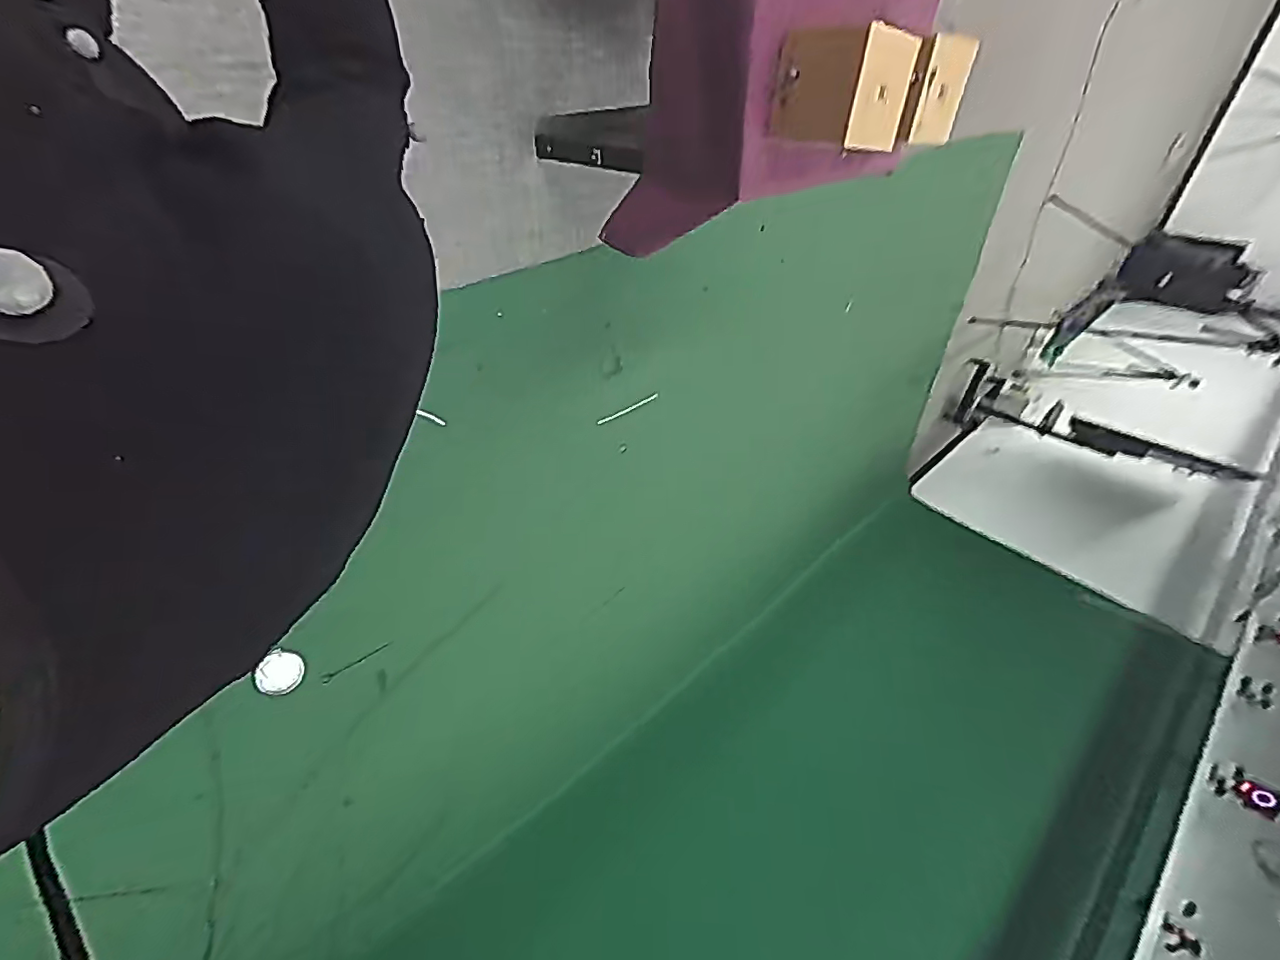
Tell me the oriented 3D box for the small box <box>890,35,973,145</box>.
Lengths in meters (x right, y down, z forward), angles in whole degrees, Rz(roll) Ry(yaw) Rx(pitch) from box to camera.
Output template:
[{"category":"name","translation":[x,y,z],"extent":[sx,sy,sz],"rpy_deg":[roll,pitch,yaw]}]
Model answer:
[{"category":"small box","translation":[0.521,-0.778,1.085],"extent":[0.179,0.176,0.168],"rpy_deg":[-25,134,-35]}]

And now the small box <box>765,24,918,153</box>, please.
[{"category":"small box","translation":[0.353,-0.691,0.965],"extent":[0.179,0.176,0.168],"rpy_deg":[-23,132,-36]}]
